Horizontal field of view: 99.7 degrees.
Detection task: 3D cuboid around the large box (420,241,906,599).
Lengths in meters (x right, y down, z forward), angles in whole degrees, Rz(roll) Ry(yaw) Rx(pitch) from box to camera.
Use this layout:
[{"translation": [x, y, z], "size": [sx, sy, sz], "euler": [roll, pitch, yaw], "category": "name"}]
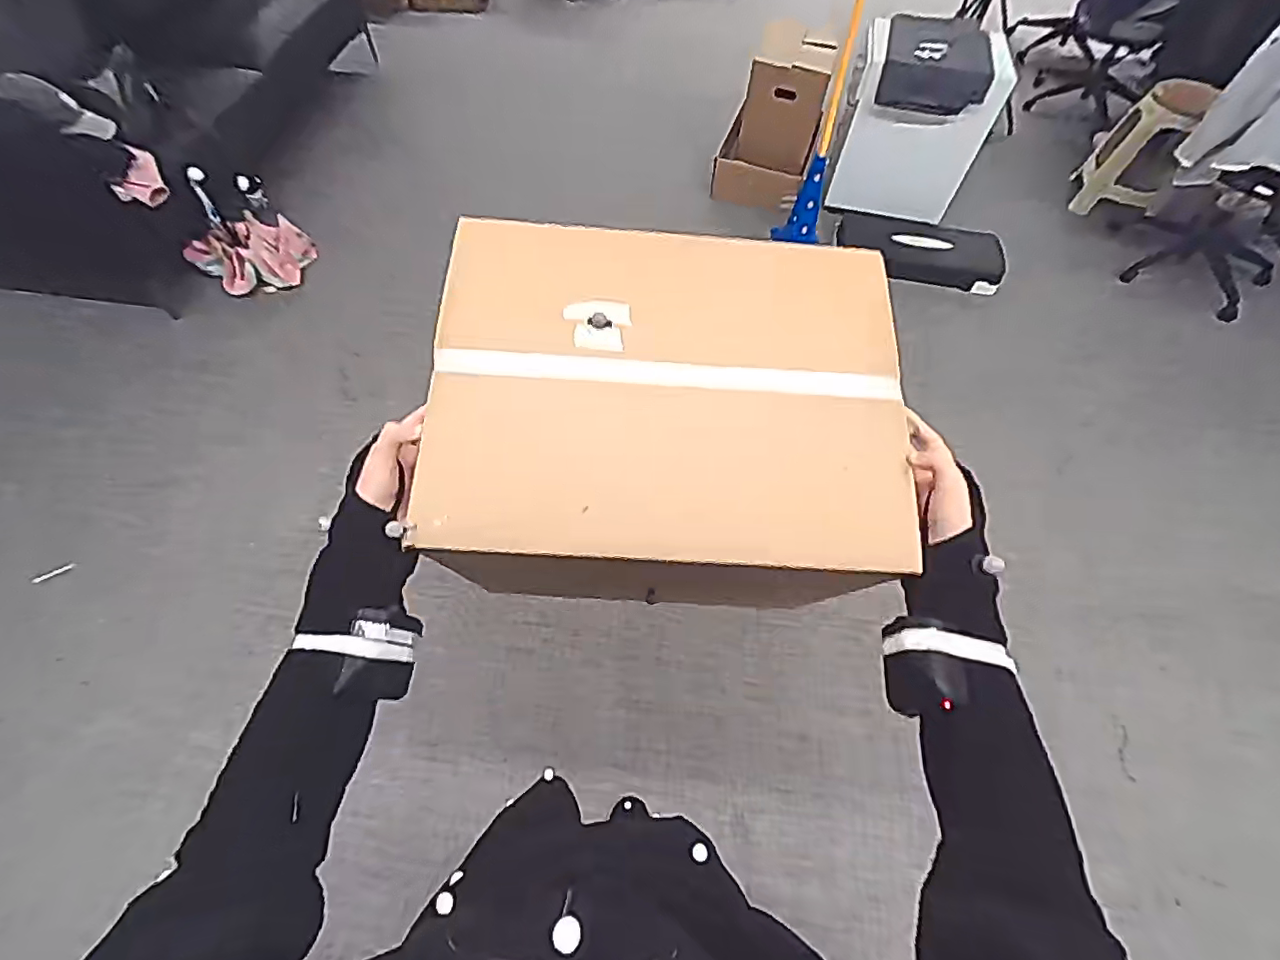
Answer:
[{"translation": [0.021, -0.034, 0.622], "size": [0.408, 0.320, 0.320], "euler": [3, 71, -2], "category": "large box"}]
